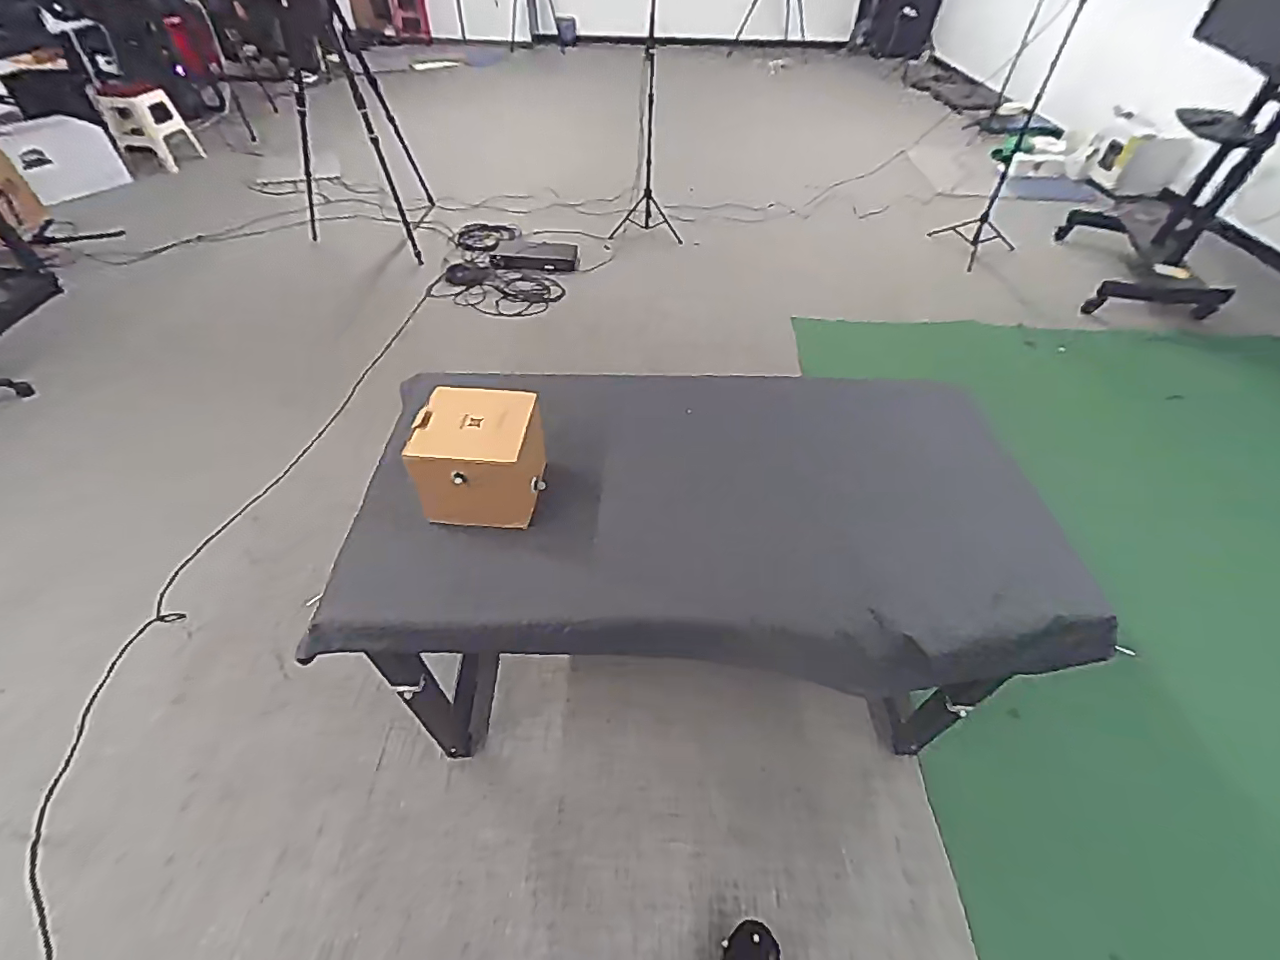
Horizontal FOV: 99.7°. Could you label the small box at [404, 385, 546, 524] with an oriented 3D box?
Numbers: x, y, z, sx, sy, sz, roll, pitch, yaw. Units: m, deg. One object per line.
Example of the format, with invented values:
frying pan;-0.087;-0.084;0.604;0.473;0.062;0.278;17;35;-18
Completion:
small box;-0.266;-0.041;0.918;0.179;0.176;0.168;4;49;0
